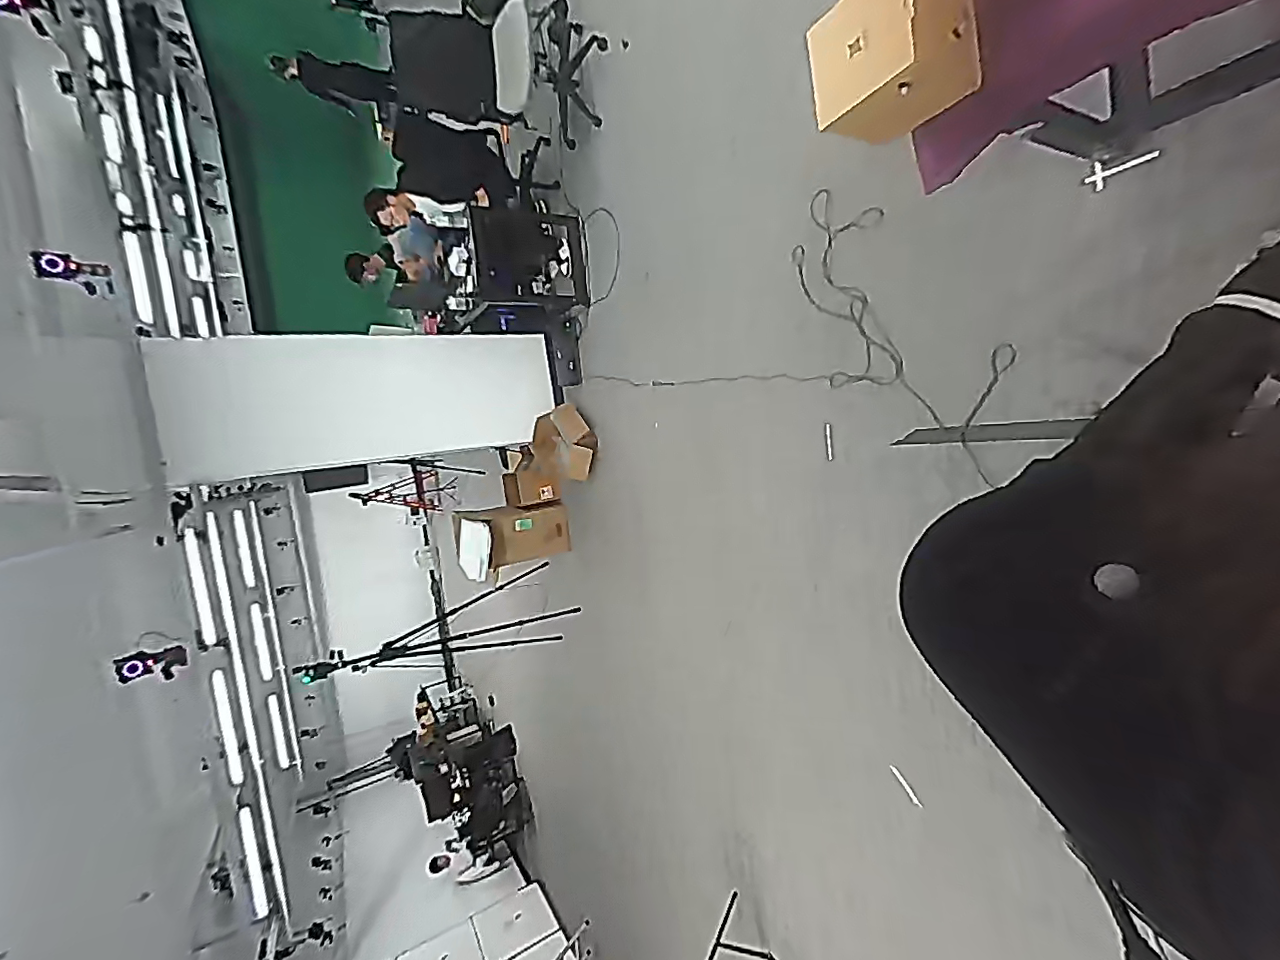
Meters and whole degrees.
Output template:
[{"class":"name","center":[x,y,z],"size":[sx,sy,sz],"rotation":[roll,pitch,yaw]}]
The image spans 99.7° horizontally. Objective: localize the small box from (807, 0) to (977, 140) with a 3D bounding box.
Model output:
[{"class":"small box","center":[0.396,-0.676,0.857],"size":[0.179,0.176,0.168],"rotation":[-4,95,59]}]
